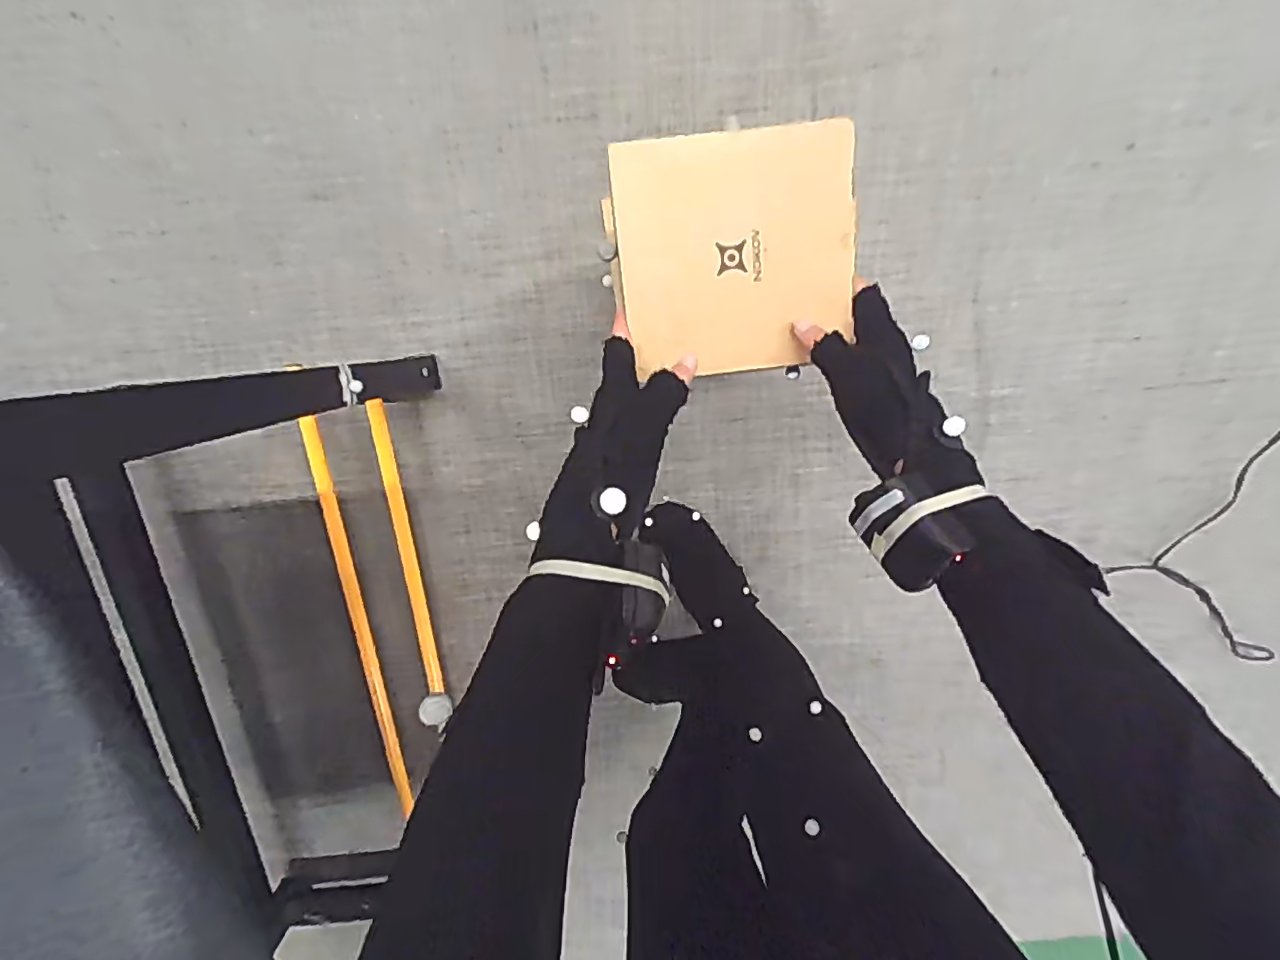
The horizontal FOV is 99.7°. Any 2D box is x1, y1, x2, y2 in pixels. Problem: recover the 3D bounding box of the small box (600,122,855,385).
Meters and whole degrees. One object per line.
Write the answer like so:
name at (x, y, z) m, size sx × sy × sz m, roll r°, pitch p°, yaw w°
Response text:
small box at (0.065, -0.180, 0.465) m, size 0.179 × 0.176 × 0.168 m, roll -7°, pitch 108°, yaw 0°
